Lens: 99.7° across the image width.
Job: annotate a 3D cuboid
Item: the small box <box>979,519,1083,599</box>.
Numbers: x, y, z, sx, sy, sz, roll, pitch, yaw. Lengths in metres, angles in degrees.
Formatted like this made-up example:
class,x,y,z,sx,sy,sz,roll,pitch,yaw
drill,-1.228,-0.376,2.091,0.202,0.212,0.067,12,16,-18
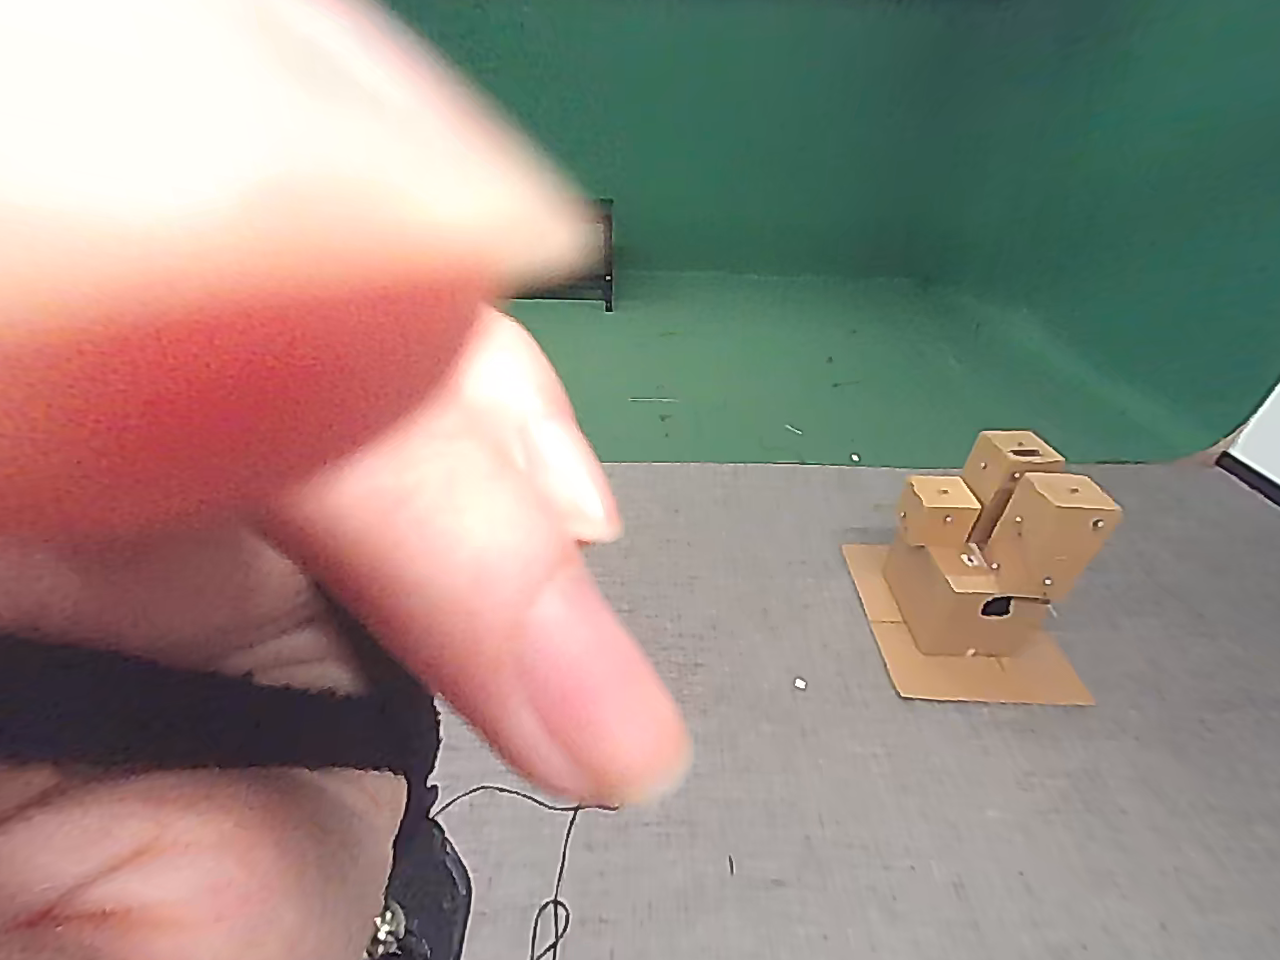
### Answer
class,x,y,z,sx,sy,sz,roll,pitch,yaw
small box,1.162,0.239,1.622,0.168,0.176,0.179,3,34,3

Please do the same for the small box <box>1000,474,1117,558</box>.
class,x,y,z,sx,sy,sz,roll,pitch,yaw
small box,1.167,0.103,1.525,0.179,0.176,0.168,4,34,3
